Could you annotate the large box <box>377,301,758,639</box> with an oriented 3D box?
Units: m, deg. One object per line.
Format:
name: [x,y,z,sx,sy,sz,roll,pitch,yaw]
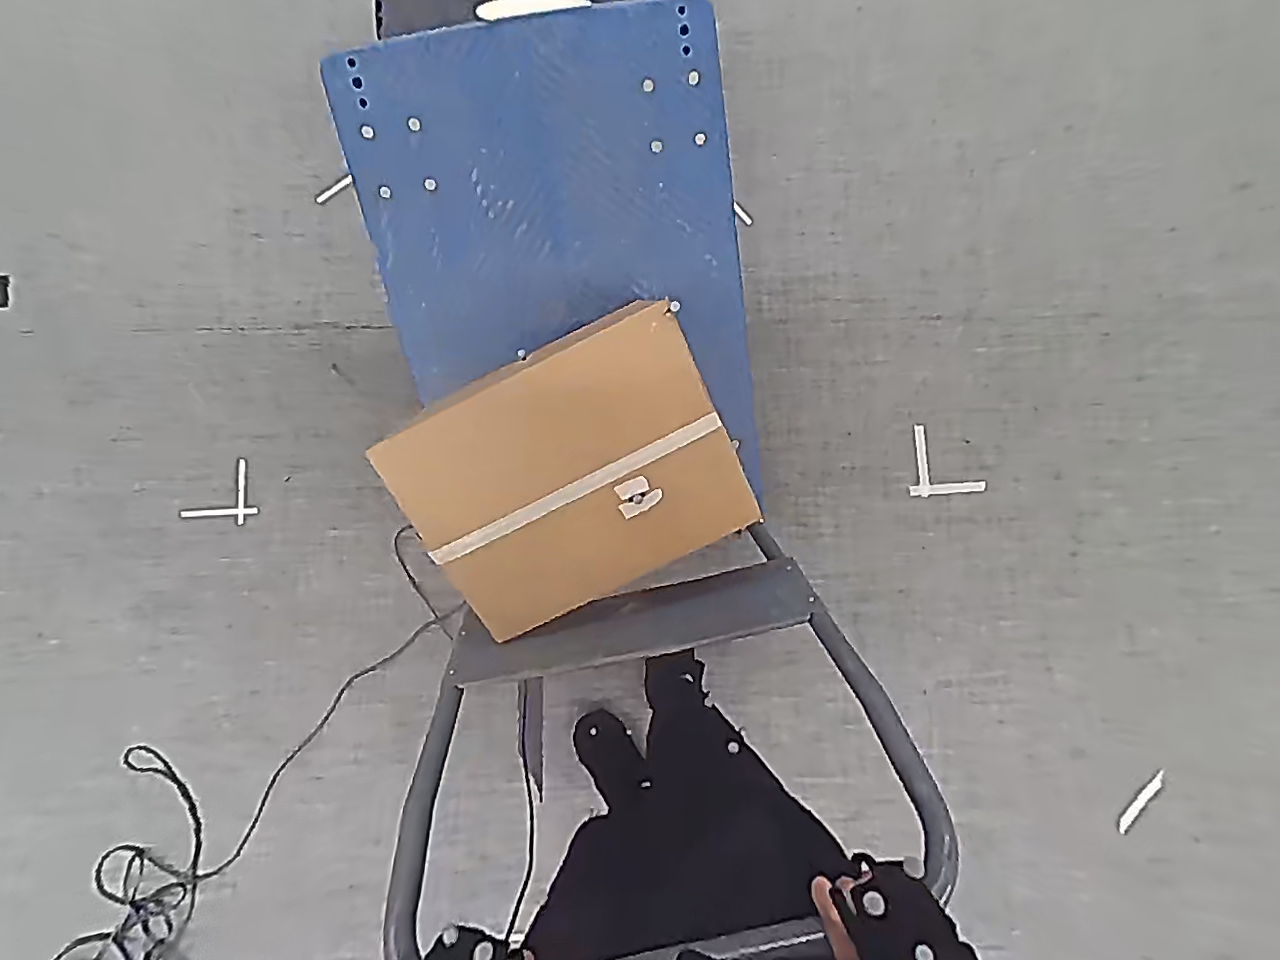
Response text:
large box: [-0.097,-0.038,0.831,0.408,0.320,0.320,-27,110,2]
